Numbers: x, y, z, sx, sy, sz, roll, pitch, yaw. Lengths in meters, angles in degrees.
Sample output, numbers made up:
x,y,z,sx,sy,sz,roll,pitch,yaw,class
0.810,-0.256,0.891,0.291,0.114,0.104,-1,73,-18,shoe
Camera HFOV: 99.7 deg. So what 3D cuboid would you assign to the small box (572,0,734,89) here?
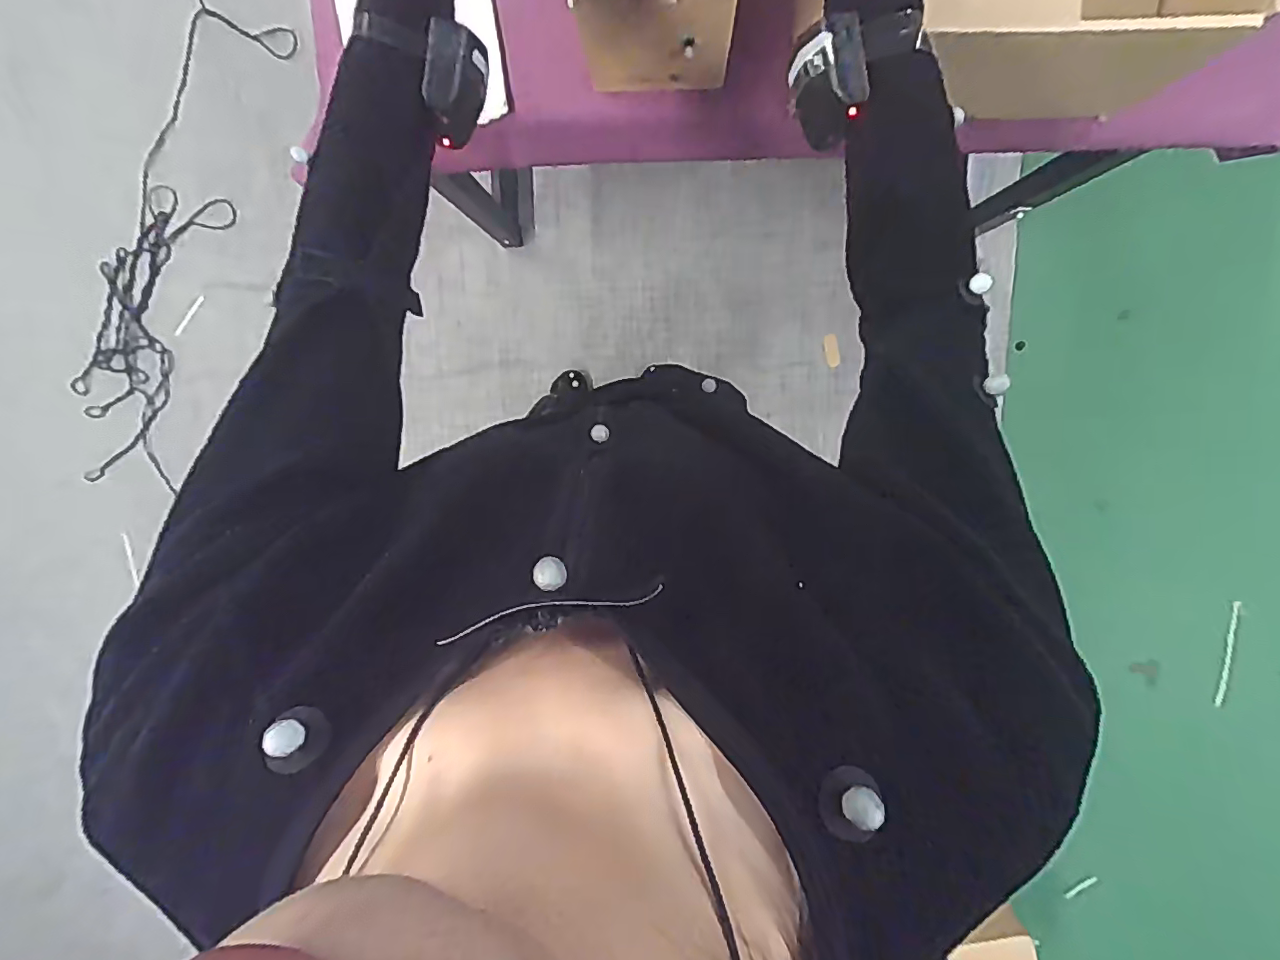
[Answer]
x,y,z,sx,sy,sz,roll,pitch,yaw,class
0.020,-0.565,0.595,0.168,0.176,0.179,1,98,2,small box
